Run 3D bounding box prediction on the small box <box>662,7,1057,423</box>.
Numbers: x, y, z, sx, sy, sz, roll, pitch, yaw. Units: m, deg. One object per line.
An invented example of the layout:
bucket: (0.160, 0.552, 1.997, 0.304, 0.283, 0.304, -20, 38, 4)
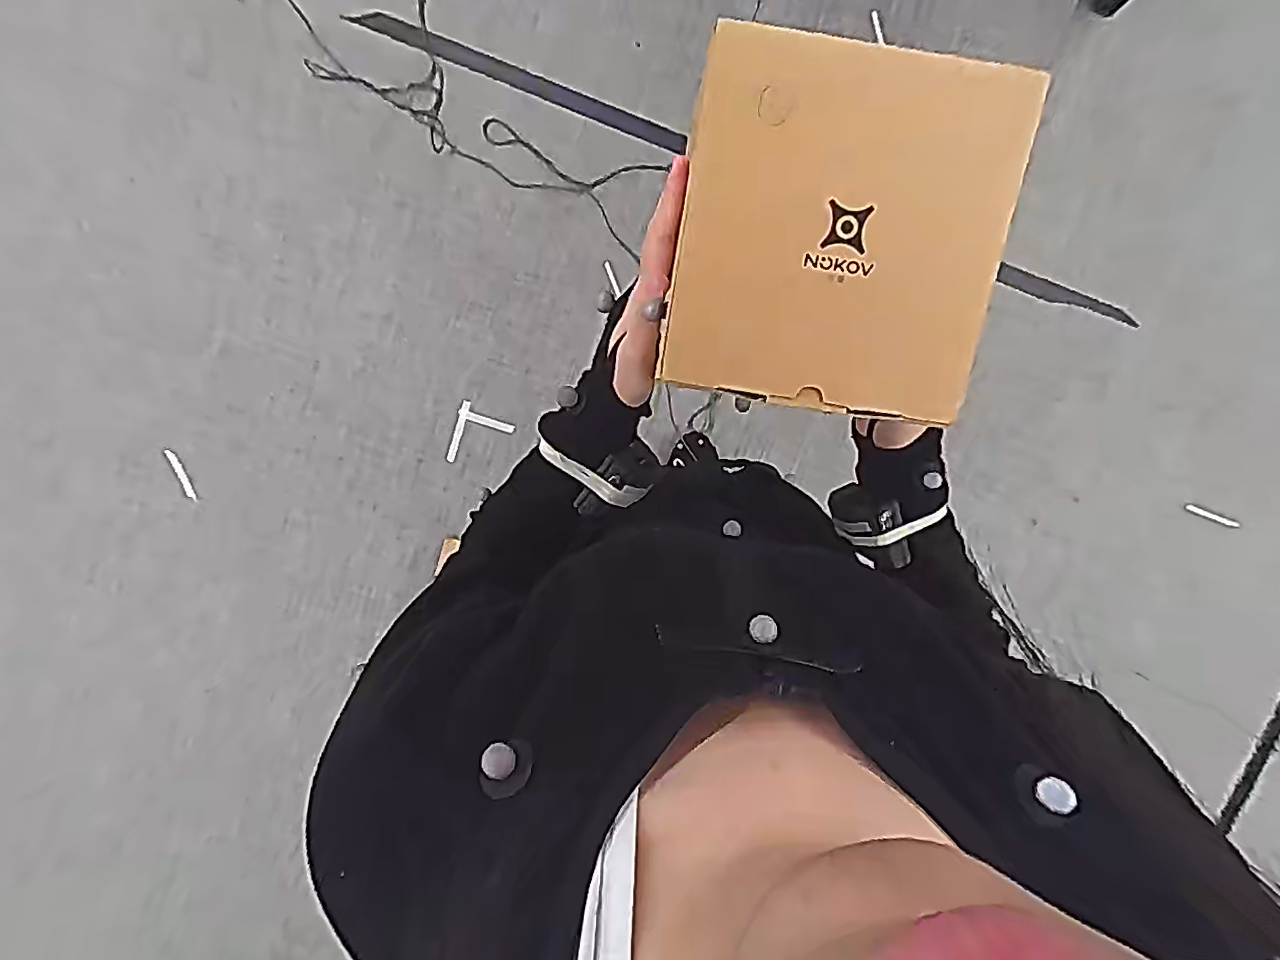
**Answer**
small box: (0.107, -0.142, 0.350, 0.168, 0.176, 0.179, 8, 102, -1)
